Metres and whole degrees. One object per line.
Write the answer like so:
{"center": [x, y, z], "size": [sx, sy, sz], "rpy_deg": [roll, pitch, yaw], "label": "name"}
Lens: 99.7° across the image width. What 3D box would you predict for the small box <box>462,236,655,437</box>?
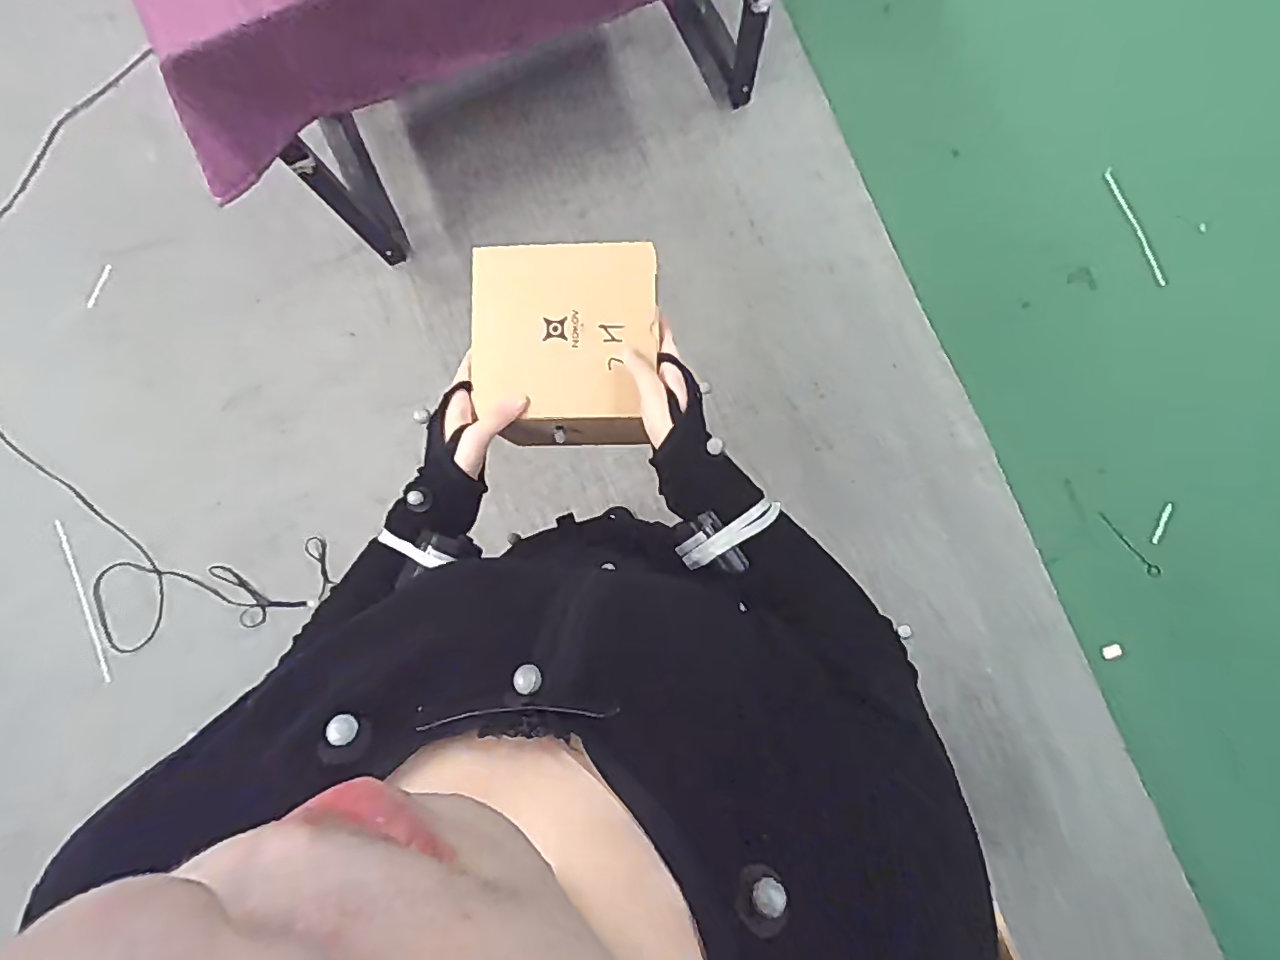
{"center": [-0.074, -0.138, 0.580], "size": [0.179, 0.176, 0.168], "rpy_deg": [-1, 86, 2], "label": "small box"}
